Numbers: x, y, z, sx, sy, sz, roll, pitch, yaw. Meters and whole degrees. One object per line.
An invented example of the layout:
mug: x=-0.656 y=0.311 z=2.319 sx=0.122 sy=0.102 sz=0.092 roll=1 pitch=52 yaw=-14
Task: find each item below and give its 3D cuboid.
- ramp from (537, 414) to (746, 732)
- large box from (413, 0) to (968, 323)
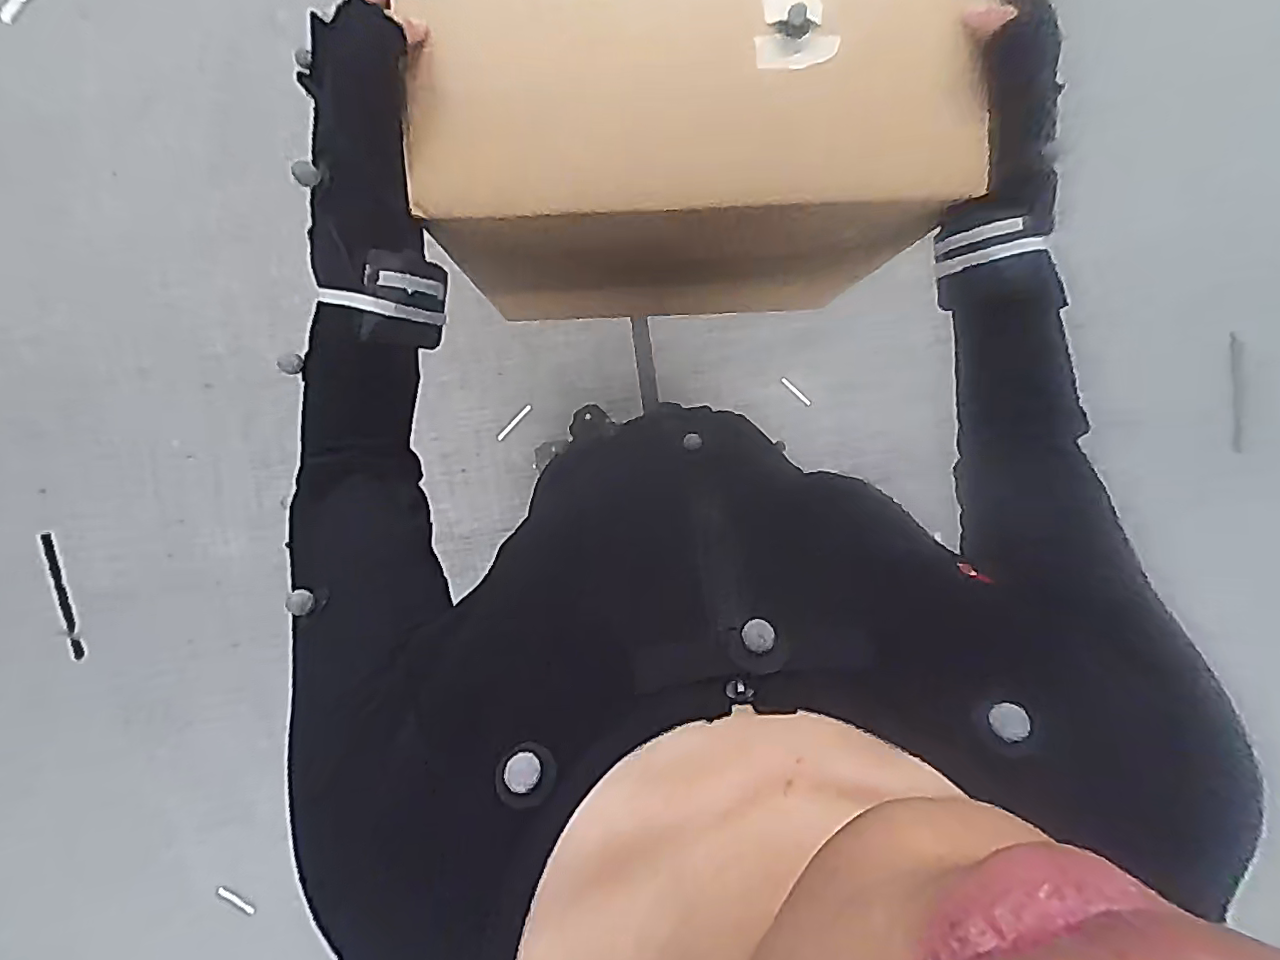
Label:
ramp: x=0.038 y=0.323 z=1.630 sx=0.509 sy=0.206 sz=0.991 roll=-12 pitch=99 yaw=-2
large box: x=0.029 y=-0.356 z=0.536 sx=0.408 sy=0.320 sz=0.320 roll=-3 pitch=93 yaw=-2
